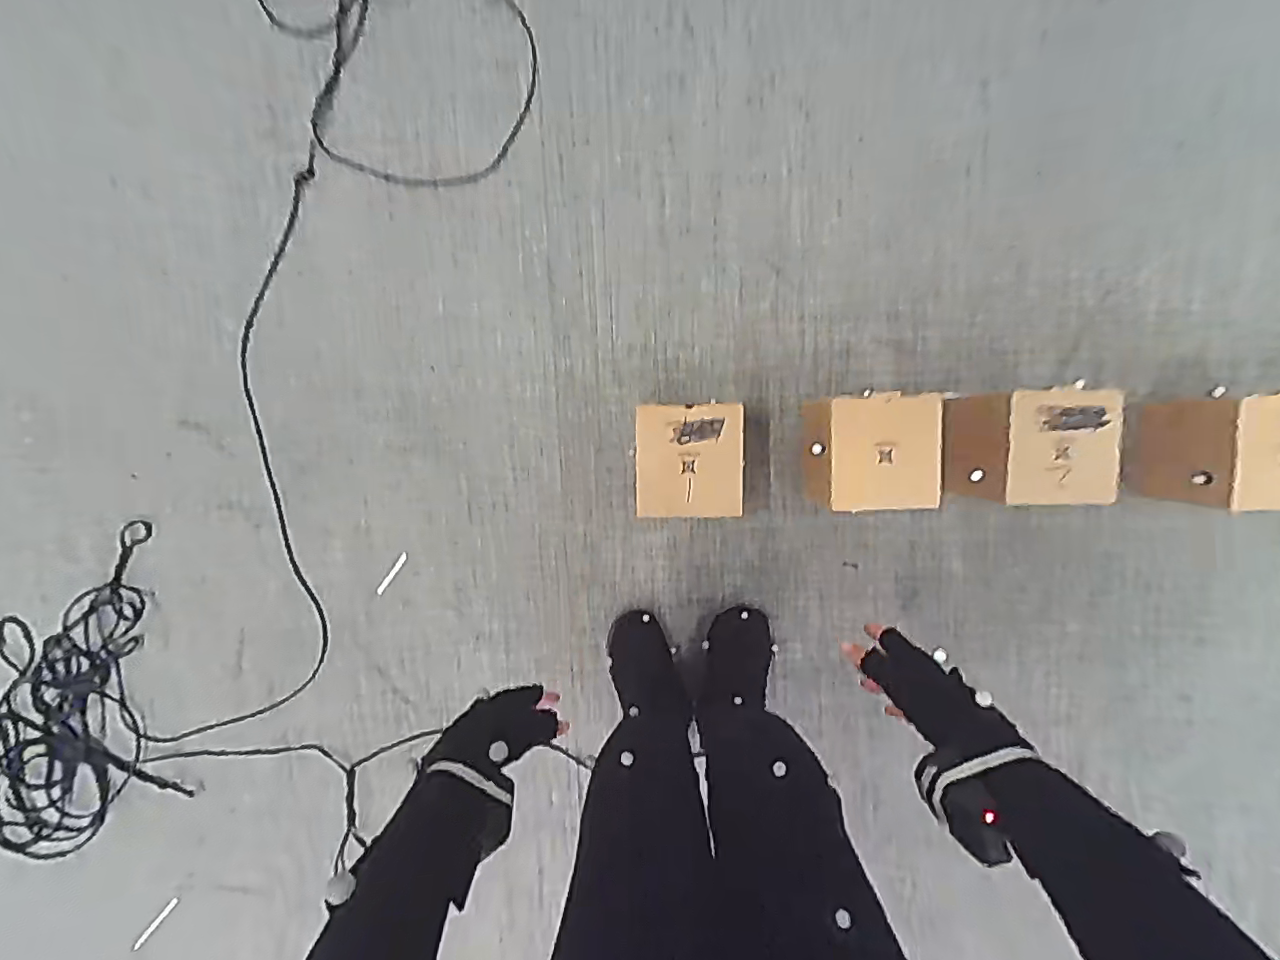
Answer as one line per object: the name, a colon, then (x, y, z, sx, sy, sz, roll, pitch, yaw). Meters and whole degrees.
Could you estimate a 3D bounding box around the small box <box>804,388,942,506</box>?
small box: (0.376, -0.055, 0.896, 0.168, 0.176, 0.179, -3, 94, 3)

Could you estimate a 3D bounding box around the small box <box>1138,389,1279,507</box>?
small box: (0.965, -0.056, 0.879, 0.168, 0.176, 0.179, -2, 95, 1)

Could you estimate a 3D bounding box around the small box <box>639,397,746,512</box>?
small box: (0.081, -0.045, 0.904, 0.168, 0.176, 0.179, 0, 96, 2)
